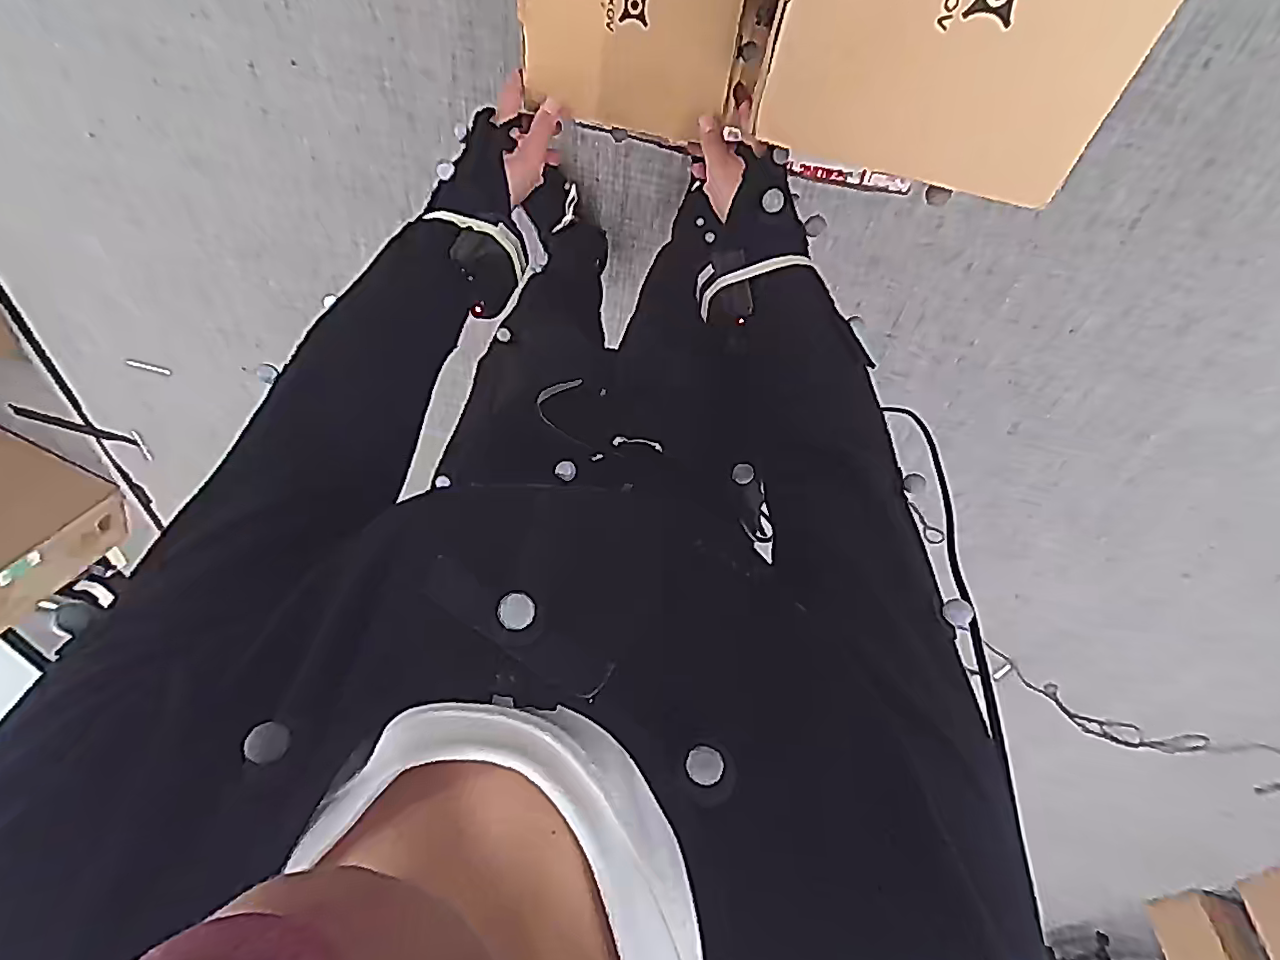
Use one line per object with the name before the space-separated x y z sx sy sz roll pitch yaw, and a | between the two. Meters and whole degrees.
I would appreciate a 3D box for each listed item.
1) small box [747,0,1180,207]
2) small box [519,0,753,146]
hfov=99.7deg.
small box | 0.172 -0.284 0.307 0.179 0.176 0.168 15 133 1
small box | 0.007 -0.414 0.466 0.179 0.176 0.168 13 134 5
